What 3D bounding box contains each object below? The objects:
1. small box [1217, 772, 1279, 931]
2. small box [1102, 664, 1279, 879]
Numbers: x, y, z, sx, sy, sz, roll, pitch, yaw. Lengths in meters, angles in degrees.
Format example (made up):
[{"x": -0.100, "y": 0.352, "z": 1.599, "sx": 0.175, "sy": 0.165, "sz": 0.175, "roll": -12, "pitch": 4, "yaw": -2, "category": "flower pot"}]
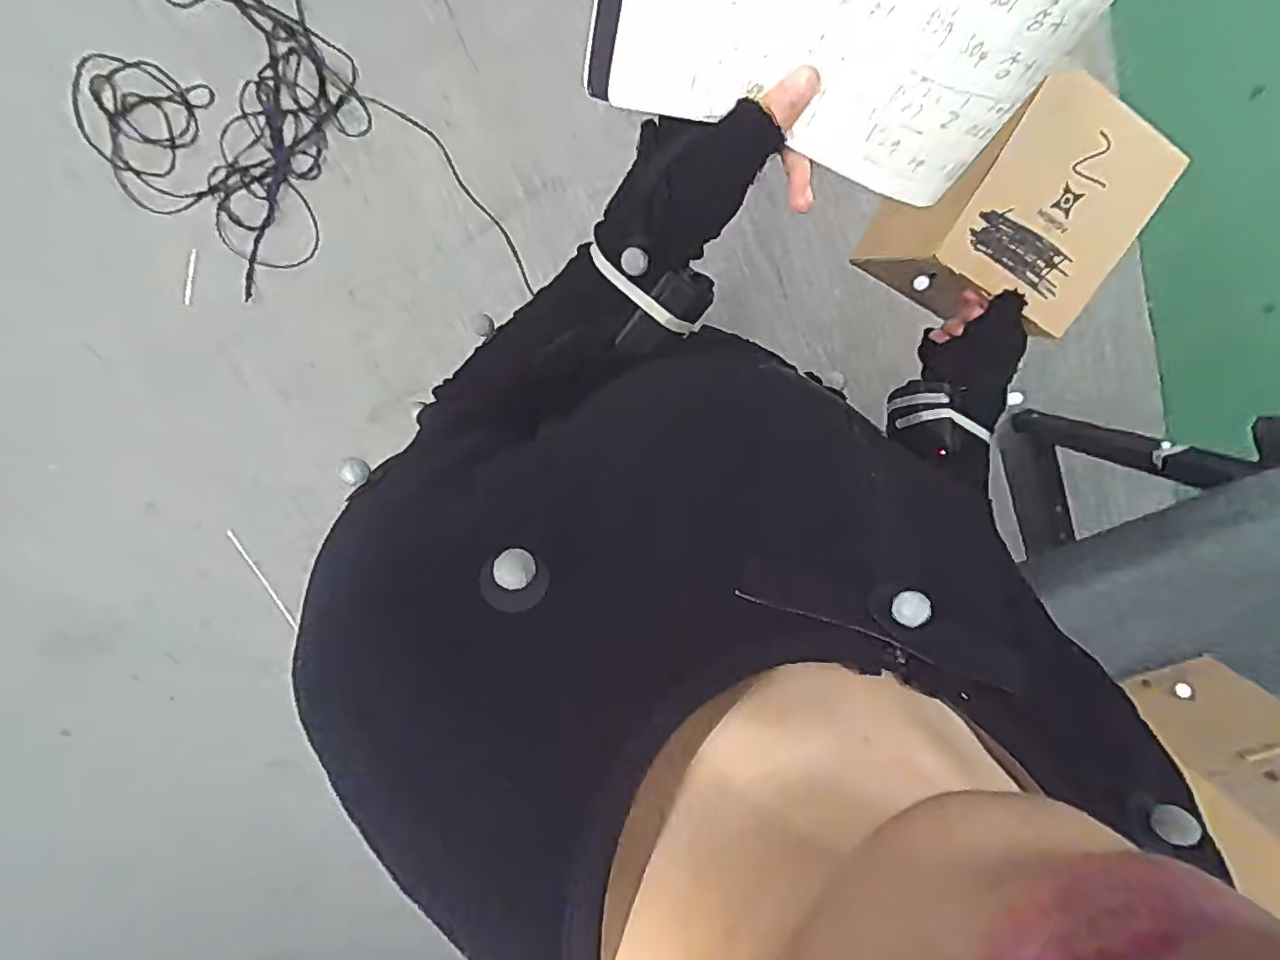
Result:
[{"x": 0.798, "y": 0.441, "z": 0.592, "sx": 0.168, "sy": 0.176, "sz": 0.179, "roll": -20, "pitch": 106, "yaw": 7, "category": "small box"}, {"x": 0.797, "y": 0.394, "z": 0.749, "sx": 0.168, "sy": 0.176, "sz": 0.179, "roll": -22, "pitch": 104, "yaw": 6, "category": "small box"}]
